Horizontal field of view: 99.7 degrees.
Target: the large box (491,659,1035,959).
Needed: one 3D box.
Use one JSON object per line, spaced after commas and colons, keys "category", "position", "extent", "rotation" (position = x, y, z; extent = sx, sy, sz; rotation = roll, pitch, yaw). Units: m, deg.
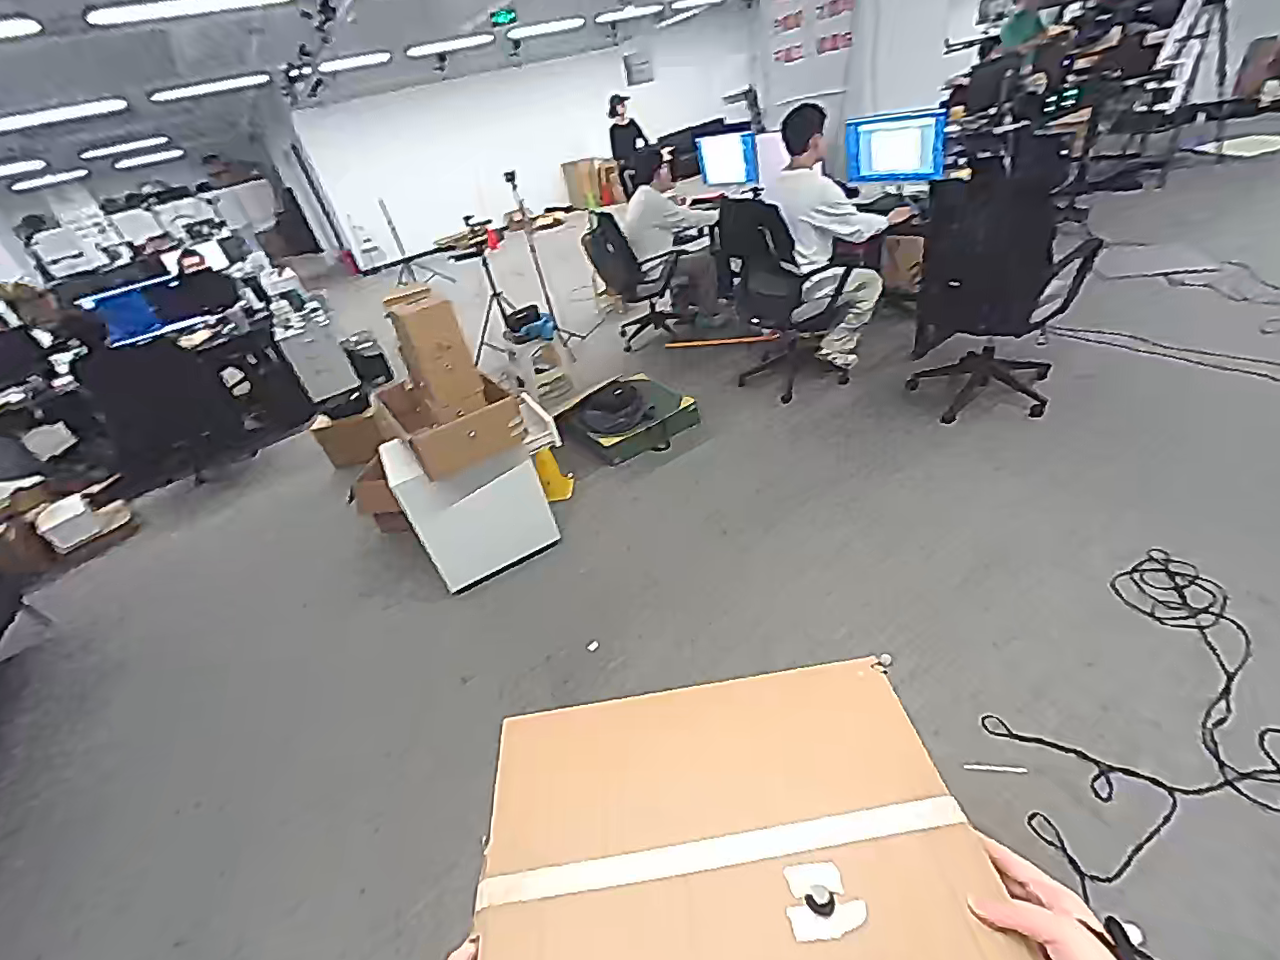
{"category": "large box", "position": [0.089, 0.433, 0.548], "extent": [0.408, 0.320, 0.320], "rotation": [-8, 36, -1]}
